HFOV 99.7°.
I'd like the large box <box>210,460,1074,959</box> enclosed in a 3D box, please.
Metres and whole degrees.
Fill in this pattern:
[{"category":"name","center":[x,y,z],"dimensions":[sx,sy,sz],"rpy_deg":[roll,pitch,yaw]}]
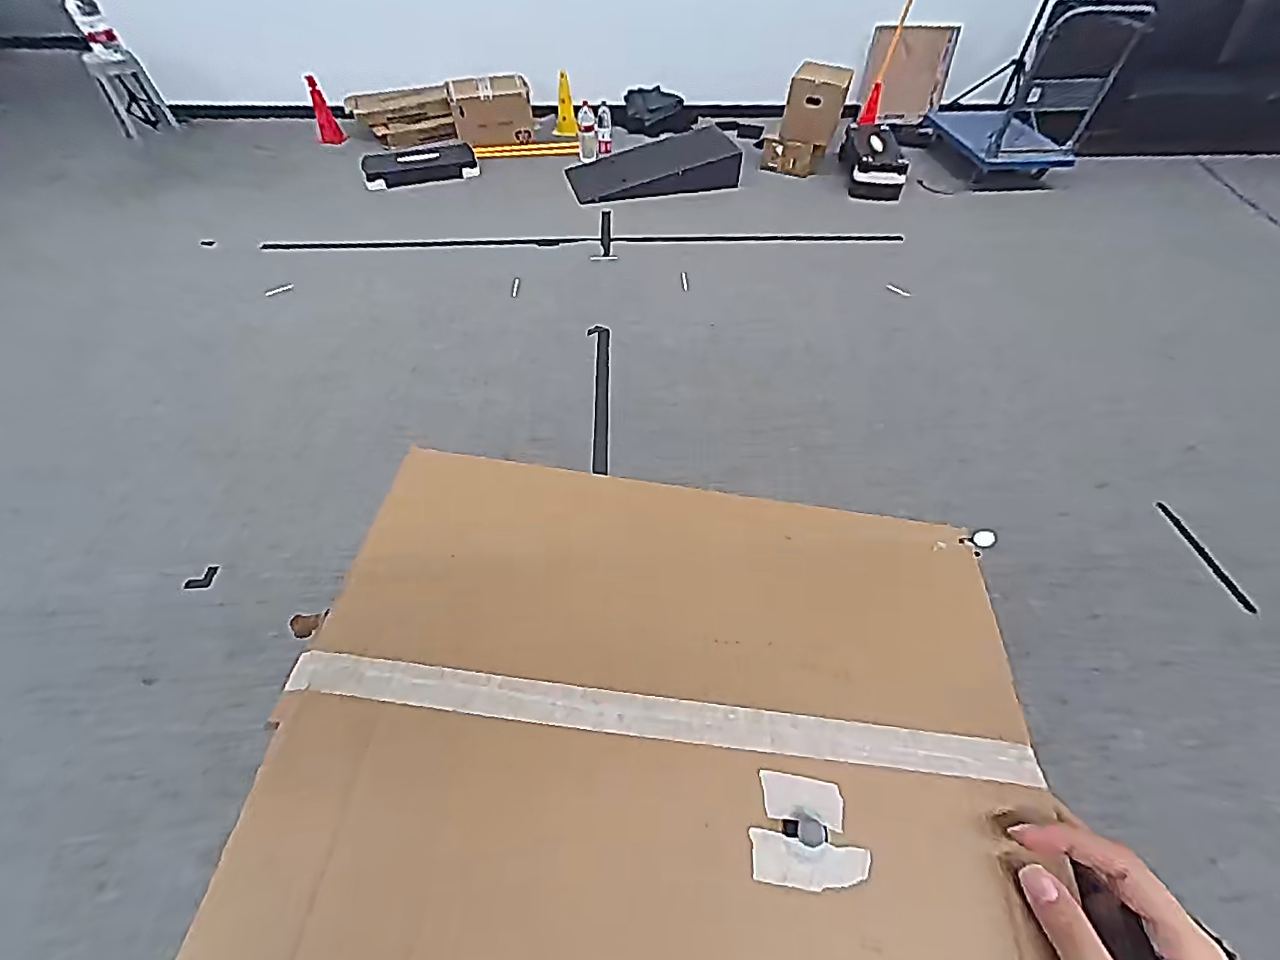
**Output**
[{"category":"large box","center":[0.006,0.220,0.429],"dimensions":[0.408,0.320,0.320],"rpy_deg":[9,55,-2]}]
